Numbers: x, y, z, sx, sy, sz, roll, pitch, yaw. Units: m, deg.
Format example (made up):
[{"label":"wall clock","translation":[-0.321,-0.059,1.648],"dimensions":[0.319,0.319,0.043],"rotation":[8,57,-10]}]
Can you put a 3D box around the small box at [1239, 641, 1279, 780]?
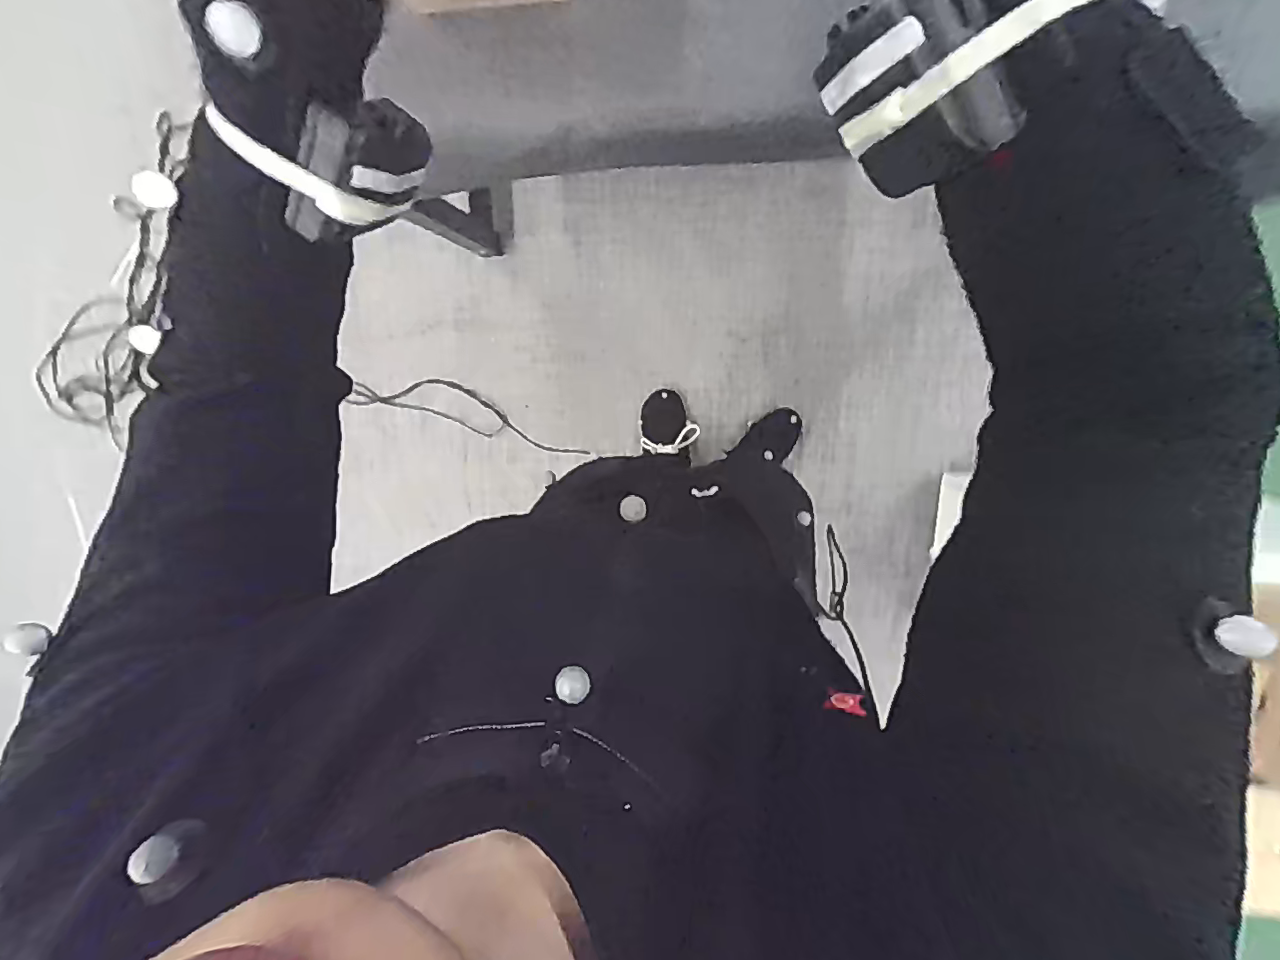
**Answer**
[{"label":"small box","translation":[0.745,0.248,0.508],"dimensions":[0.179,0.176,0.168],"rotation":[-2,105,4]}]
